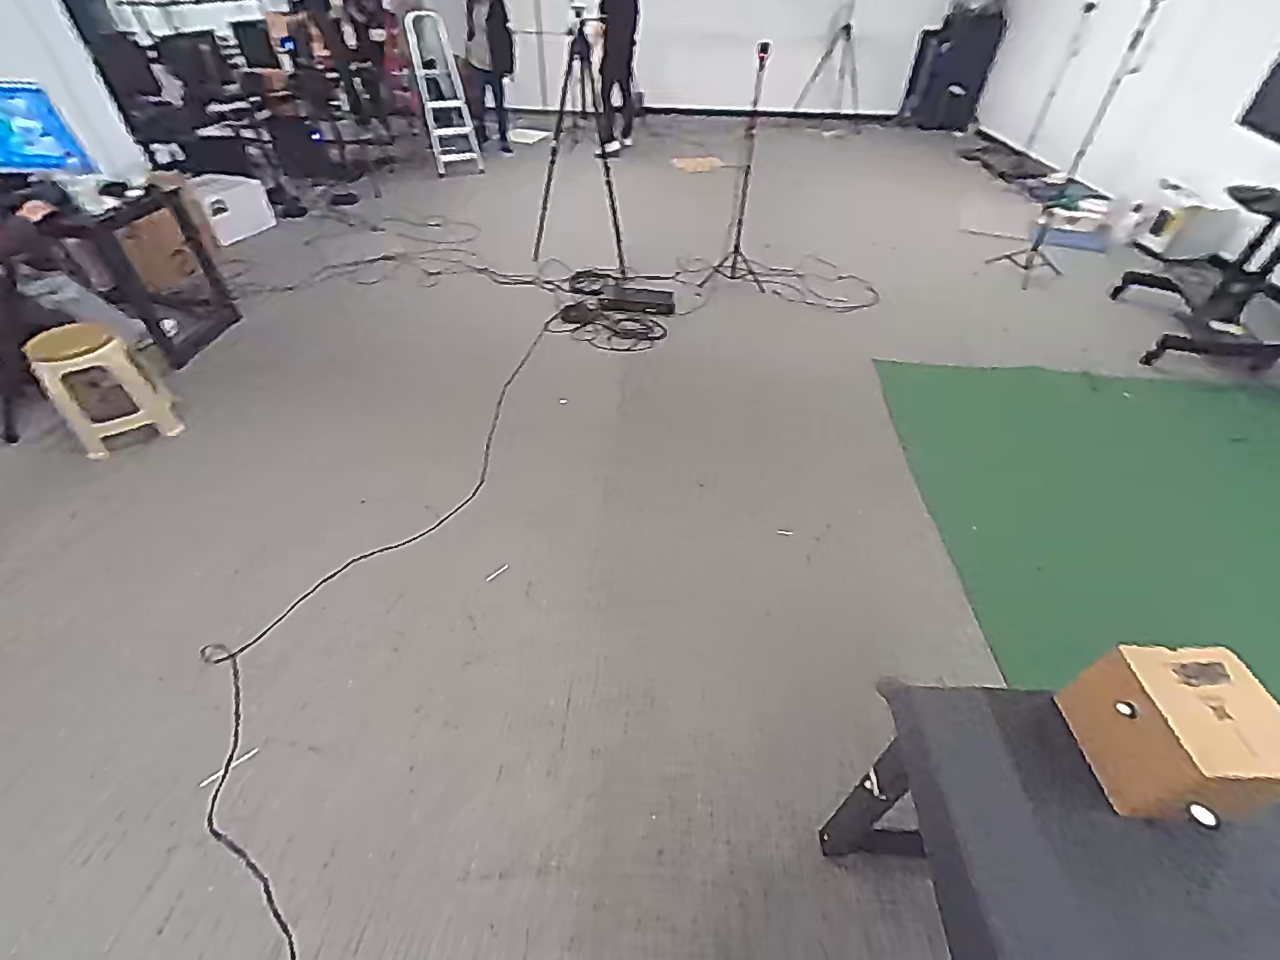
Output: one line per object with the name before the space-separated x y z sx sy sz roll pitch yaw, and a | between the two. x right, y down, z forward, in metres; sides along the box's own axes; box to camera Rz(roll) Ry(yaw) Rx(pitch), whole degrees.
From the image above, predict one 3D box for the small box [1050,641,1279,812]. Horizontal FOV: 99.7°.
small box | 0.754 0.357 0.784 0.168 0.176 0.179 2 43 -2
